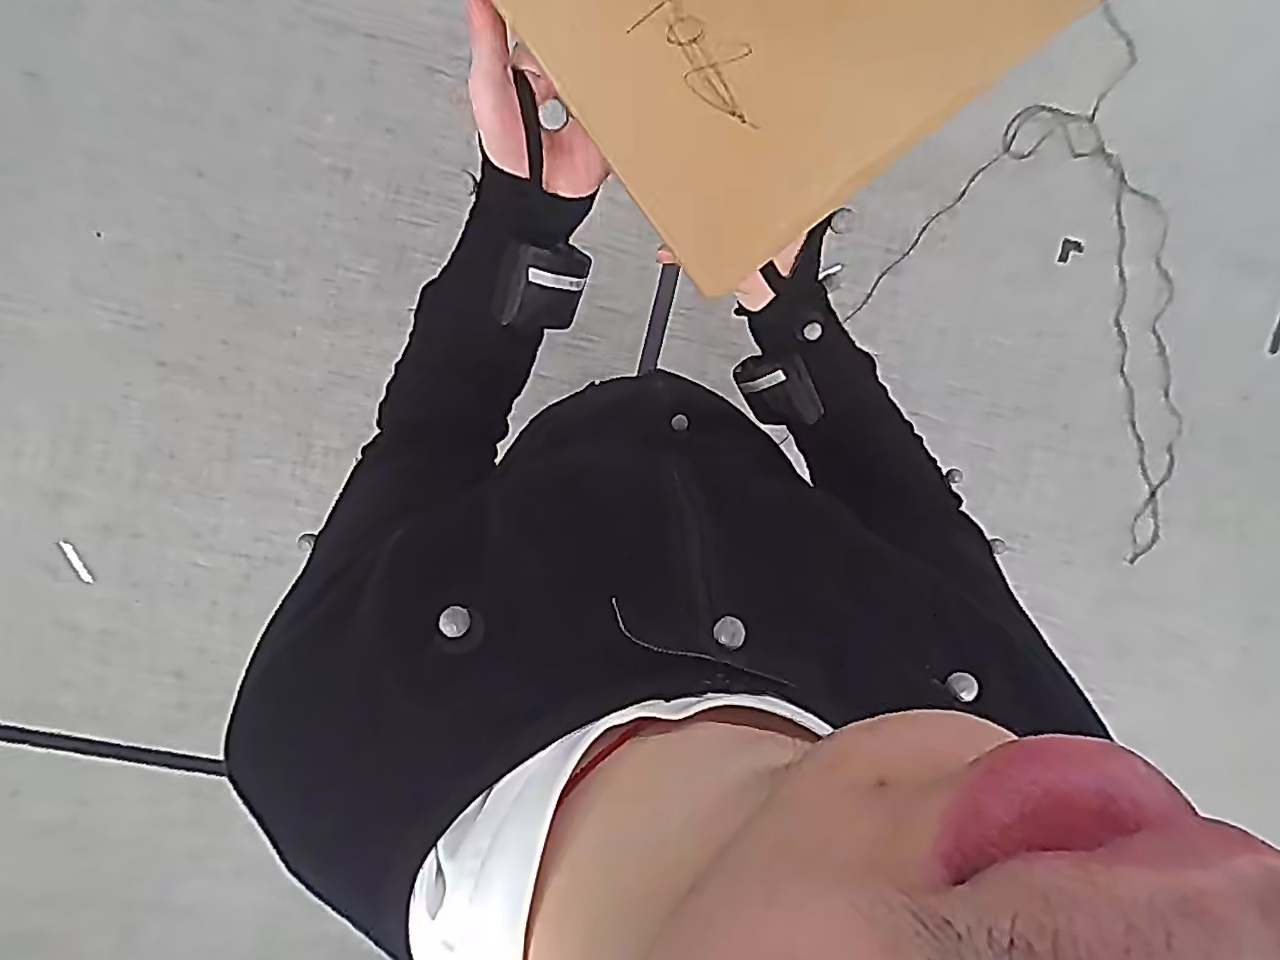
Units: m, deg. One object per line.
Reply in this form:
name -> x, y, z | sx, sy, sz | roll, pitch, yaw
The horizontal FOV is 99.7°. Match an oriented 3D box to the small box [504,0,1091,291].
small box -> 0.043, -0.223, 0.238 | 0.179, 0.176, 0.168 | -34, 119, 18
